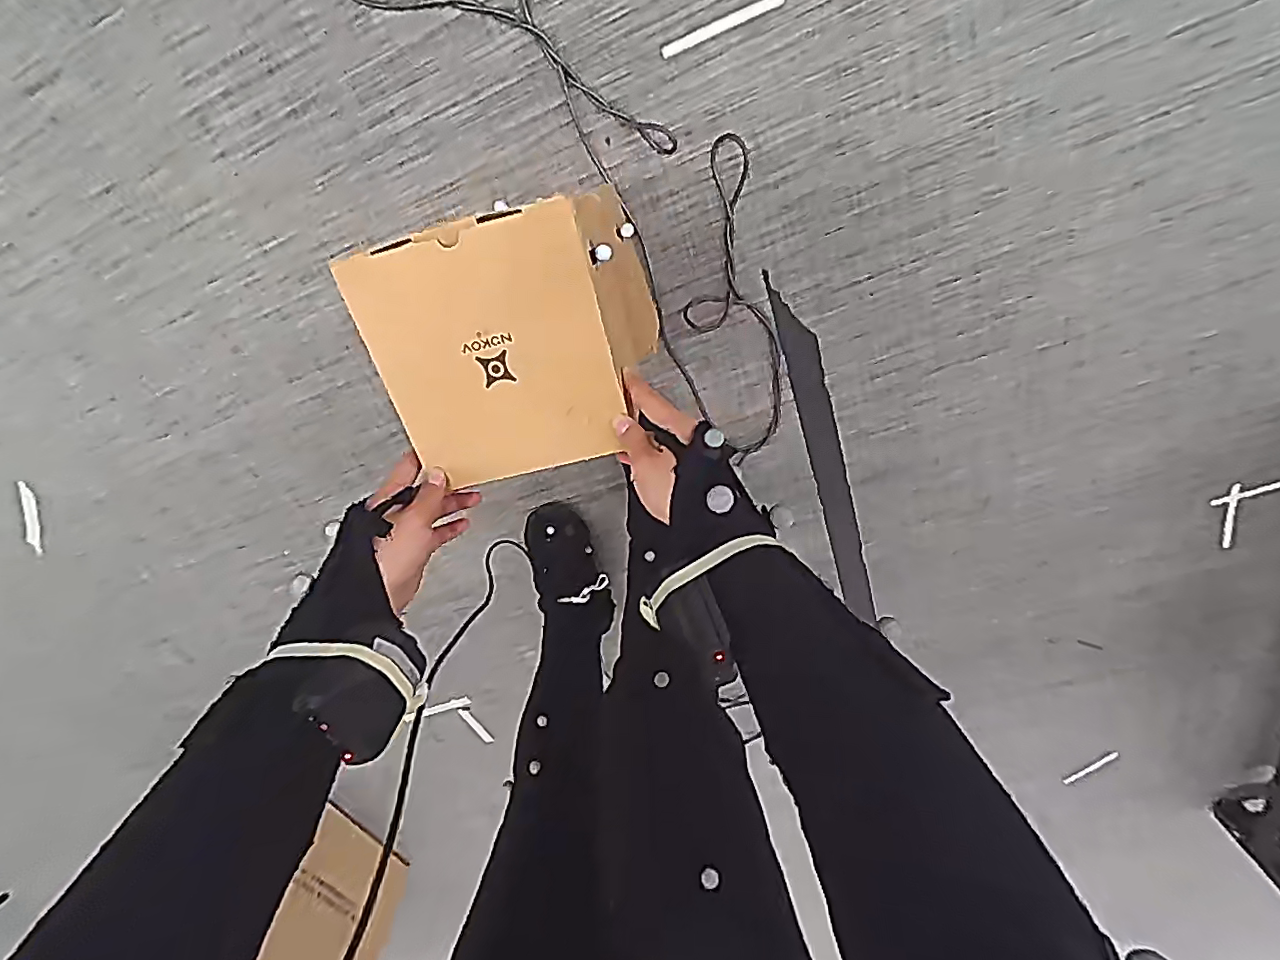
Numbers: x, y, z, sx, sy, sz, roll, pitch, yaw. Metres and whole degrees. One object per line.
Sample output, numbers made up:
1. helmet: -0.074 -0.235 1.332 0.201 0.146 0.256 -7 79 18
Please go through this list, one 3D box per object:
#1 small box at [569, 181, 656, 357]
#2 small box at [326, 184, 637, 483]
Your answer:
1. small box: -0.085 -0.231 0.638 0.168 0.176 0.179 -16 119 13
2. small box: -0.100 -0.124 0.441 0.168 0.176 0.179 -13 115 7
